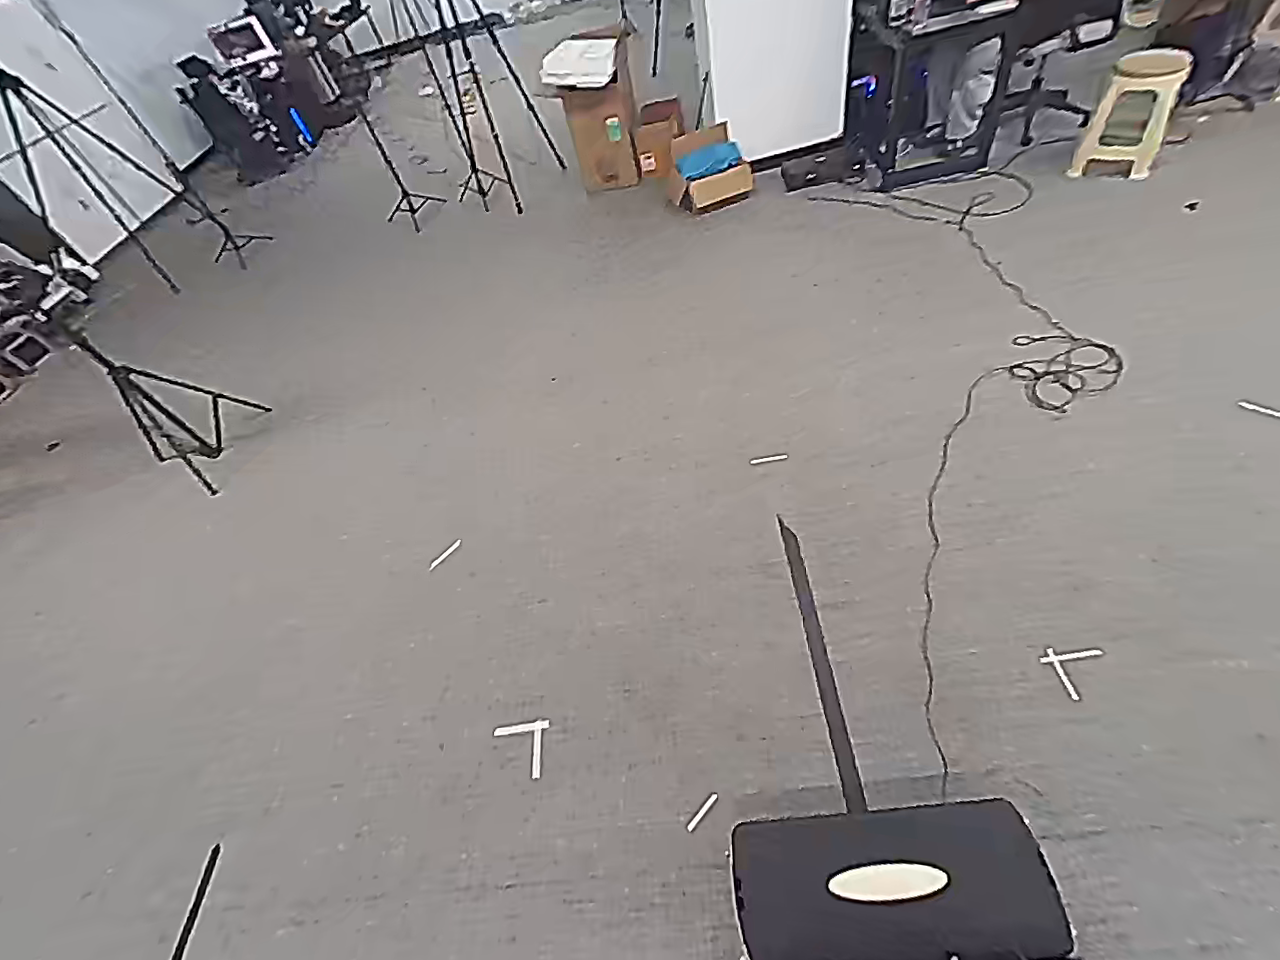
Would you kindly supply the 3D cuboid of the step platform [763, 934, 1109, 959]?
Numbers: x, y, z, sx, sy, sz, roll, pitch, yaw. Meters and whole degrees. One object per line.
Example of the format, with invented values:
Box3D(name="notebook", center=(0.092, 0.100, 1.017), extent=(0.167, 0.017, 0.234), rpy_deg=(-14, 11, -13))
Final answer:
Box3D(name="step platform", center=(0.567, 1.062, 1.012), extent=(0.684, 0.204, 0.286), rpy_deg=(-12, 49, 8))
